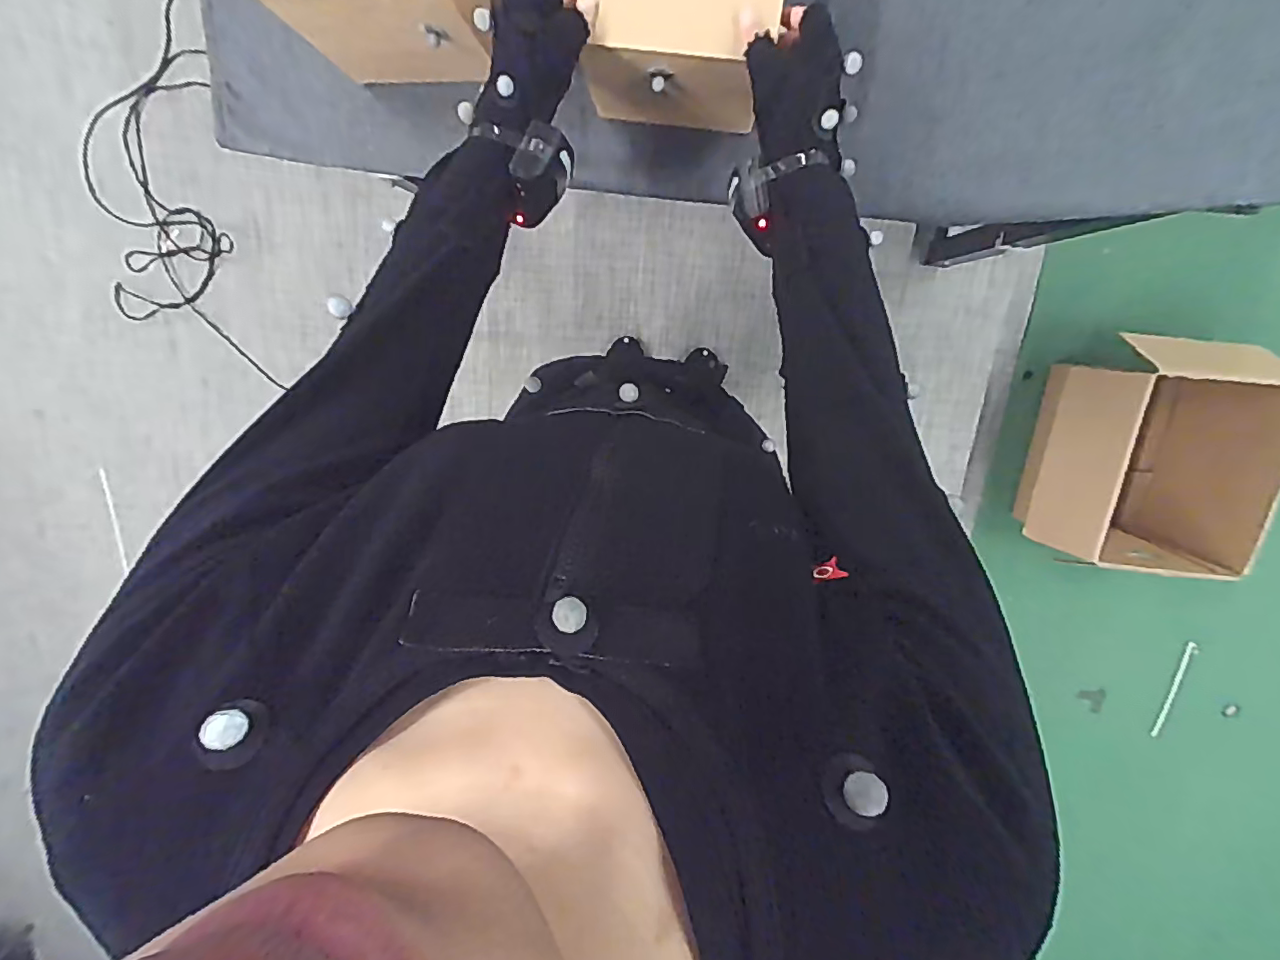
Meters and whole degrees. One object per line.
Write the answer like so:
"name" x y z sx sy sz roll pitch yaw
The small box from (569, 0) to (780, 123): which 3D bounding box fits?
"small box" 0.040 -0.463 0.511 0.179 0.176 0.168 7 106 2
